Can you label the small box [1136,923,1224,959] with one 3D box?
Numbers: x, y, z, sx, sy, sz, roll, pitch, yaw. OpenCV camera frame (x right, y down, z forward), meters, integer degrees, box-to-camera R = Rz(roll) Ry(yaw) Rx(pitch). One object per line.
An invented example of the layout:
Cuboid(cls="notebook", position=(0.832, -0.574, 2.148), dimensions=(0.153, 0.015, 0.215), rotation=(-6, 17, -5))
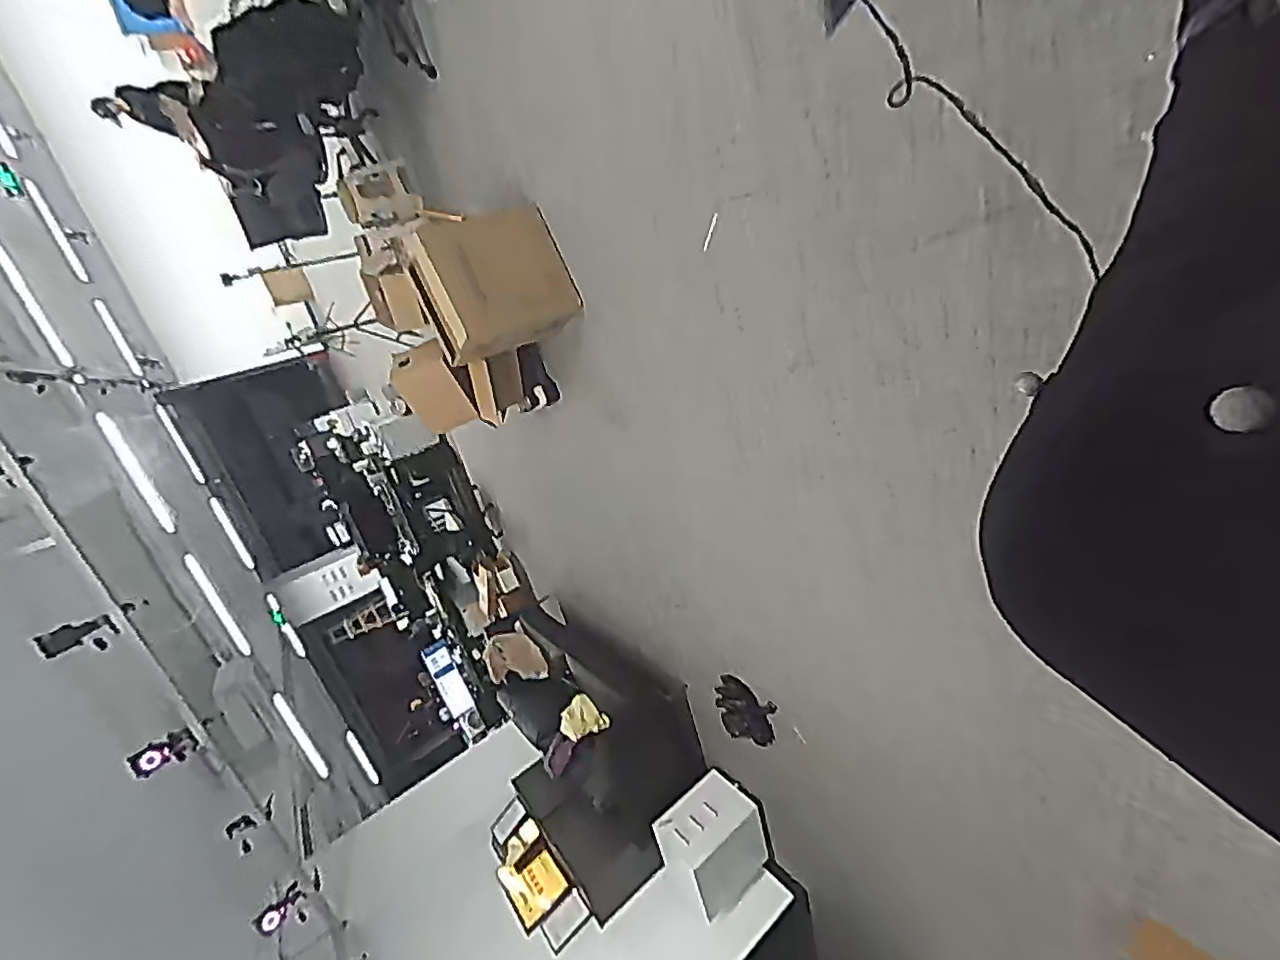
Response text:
Cuboid(cls="small box", position=(1.547, 1.427, 1.547), dimensions=(0.179, 0.176, 0.168), rotation=(19, 130, 50))
